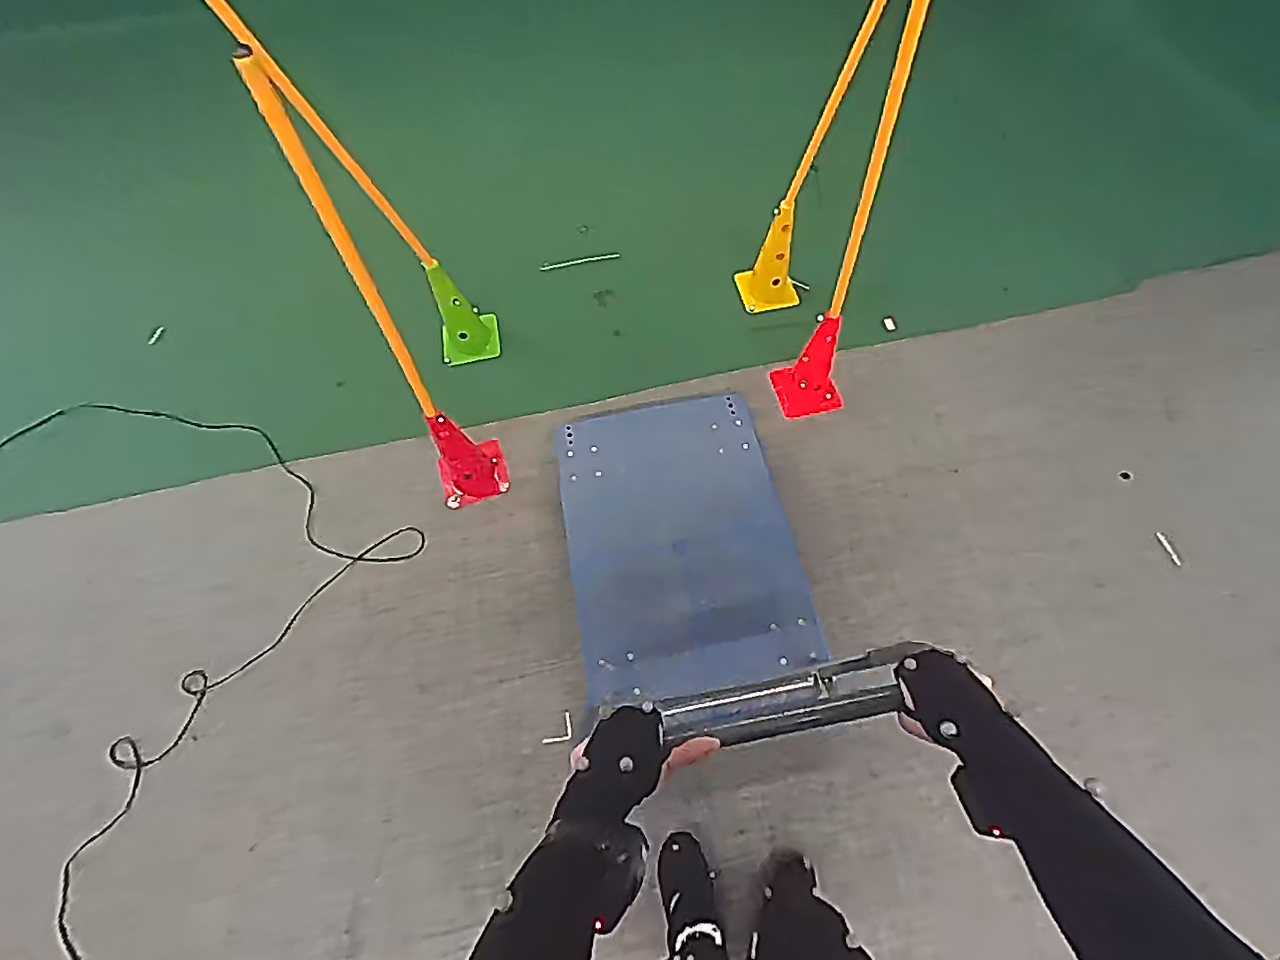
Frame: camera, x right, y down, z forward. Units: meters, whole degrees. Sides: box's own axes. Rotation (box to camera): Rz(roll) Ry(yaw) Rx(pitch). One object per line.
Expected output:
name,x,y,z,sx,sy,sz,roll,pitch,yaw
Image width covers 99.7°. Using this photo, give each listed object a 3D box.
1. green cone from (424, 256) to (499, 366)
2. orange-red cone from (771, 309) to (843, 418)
green cone,-0.619,-0.578,1.789,0.200,0.368,0.202,-12,63,-2
orange-red cone,0.544,-0.375,1.637,0.198,0.360,0.199,-11,62,-4
